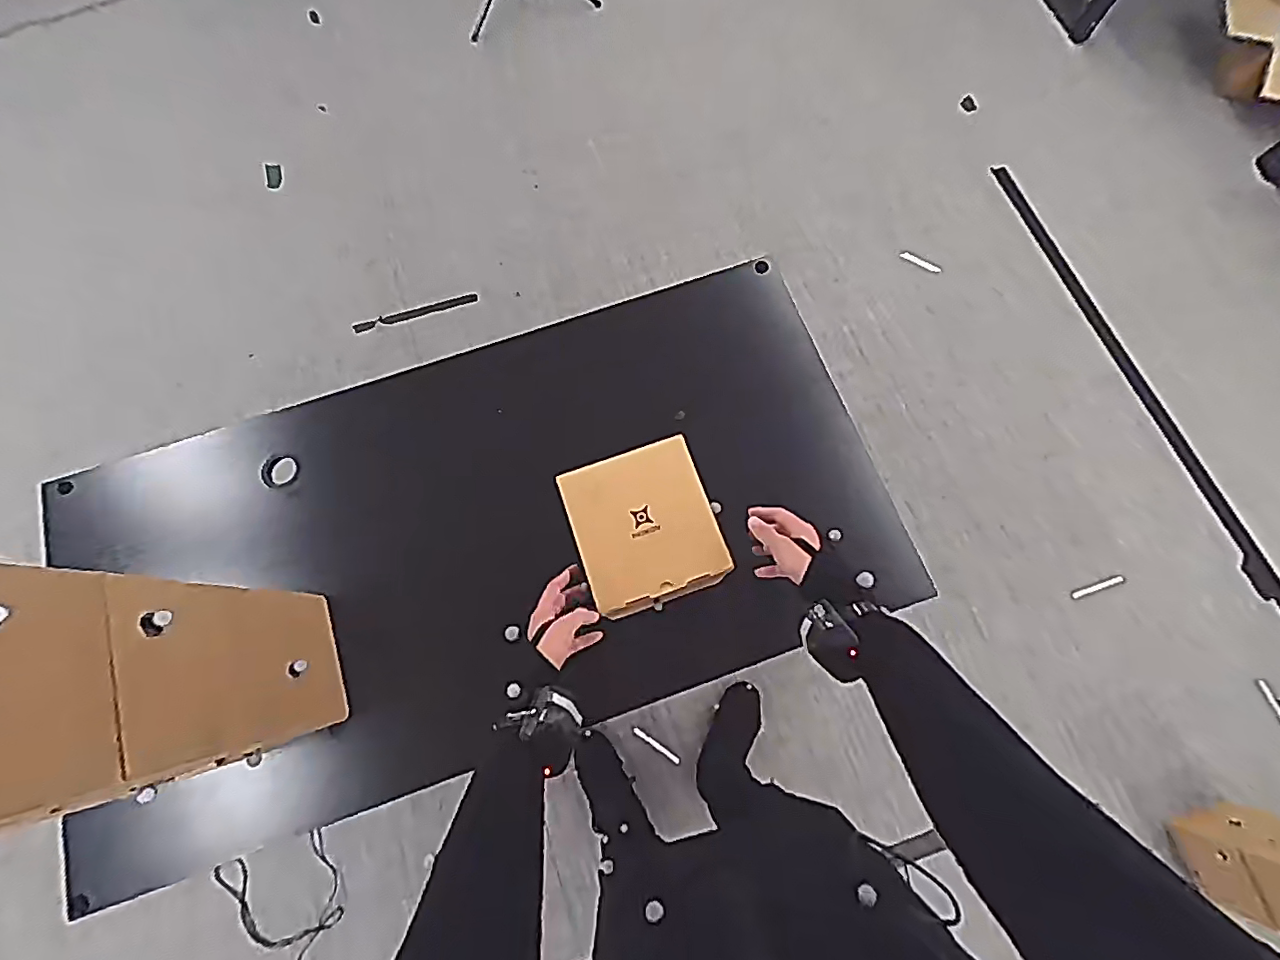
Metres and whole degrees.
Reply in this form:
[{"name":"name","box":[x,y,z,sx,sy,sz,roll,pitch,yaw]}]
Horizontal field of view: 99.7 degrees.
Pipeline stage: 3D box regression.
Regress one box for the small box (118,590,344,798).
[{"name":"small box","box":[-0.498,0.247,0.665,0.168,0.176,0.179,-21,76,-5]}]

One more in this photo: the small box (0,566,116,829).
[{"name":"small box","box":[-0.502,0.158,0.350,0.168,0.176,0.179,-21,76,-4]}]

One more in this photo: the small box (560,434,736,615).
[{"name":"small box","box":[0.006,0.067,0.708,0.168,0.176,0.179,-19,75,-4]}]

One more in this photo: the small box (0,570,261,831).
[{"name":"small box","box":[-0.500,0.202,0.507,0.168,0.176,0.179,-20,75,-4]}]

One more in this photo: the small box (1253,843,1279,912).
[{"name":"small box","box":[1.392,0.824,1.057,0.168,0.176,0.179,-18,76,-4]}]
